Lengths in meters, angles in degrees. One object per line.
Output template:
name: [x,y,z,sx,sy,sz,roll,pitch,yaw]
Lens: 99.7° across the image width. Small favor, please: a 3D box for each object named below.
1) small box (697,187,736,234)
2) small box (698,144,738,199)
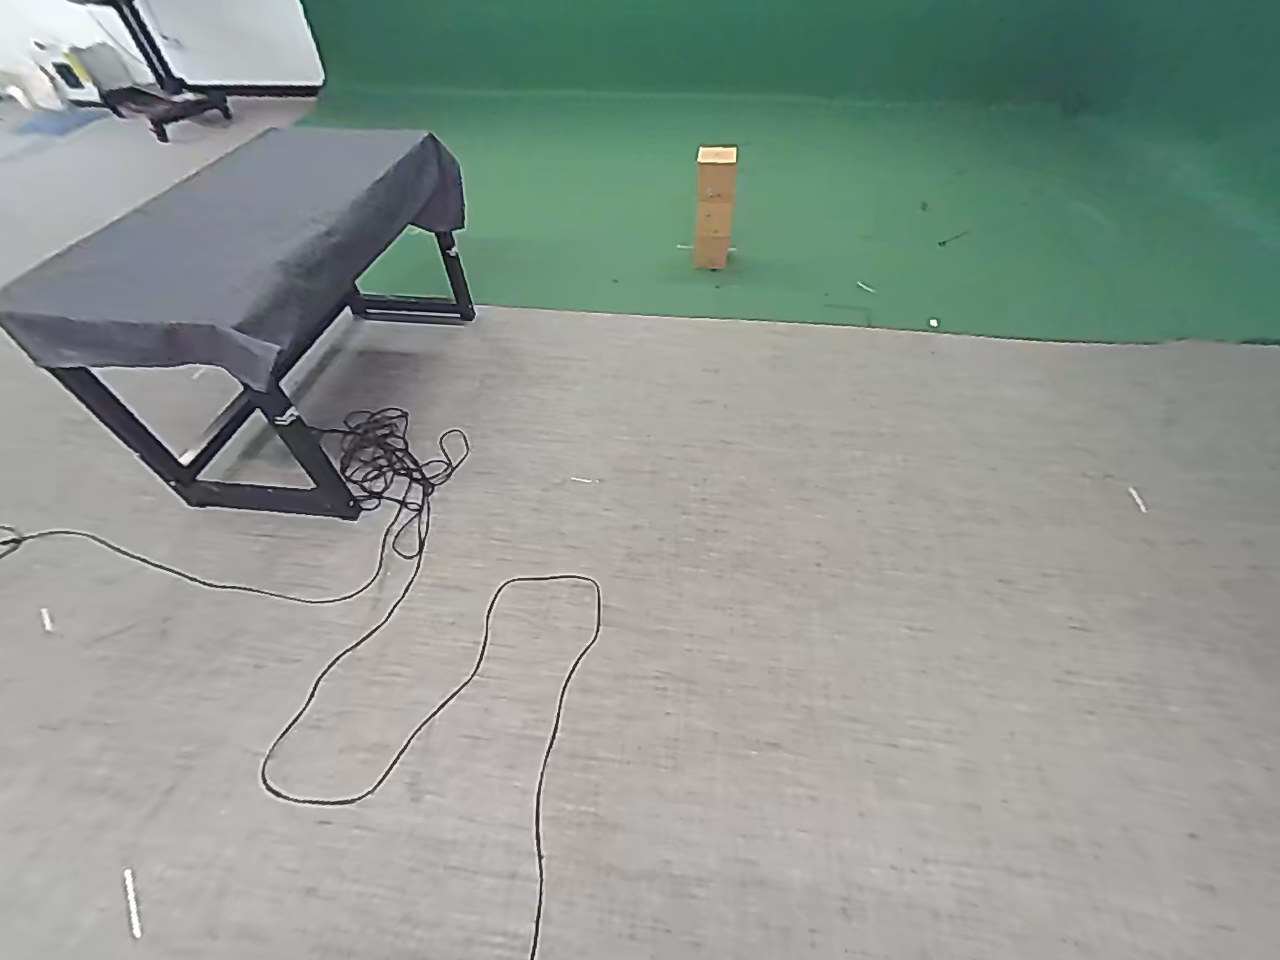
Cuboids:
small box: [0.358,-1.277,2.545,0.168,0.176,0.179,6,50,7]
small box: [0.348,-1.379,2.418,0.168,0.176,0.179,4,50,7]
